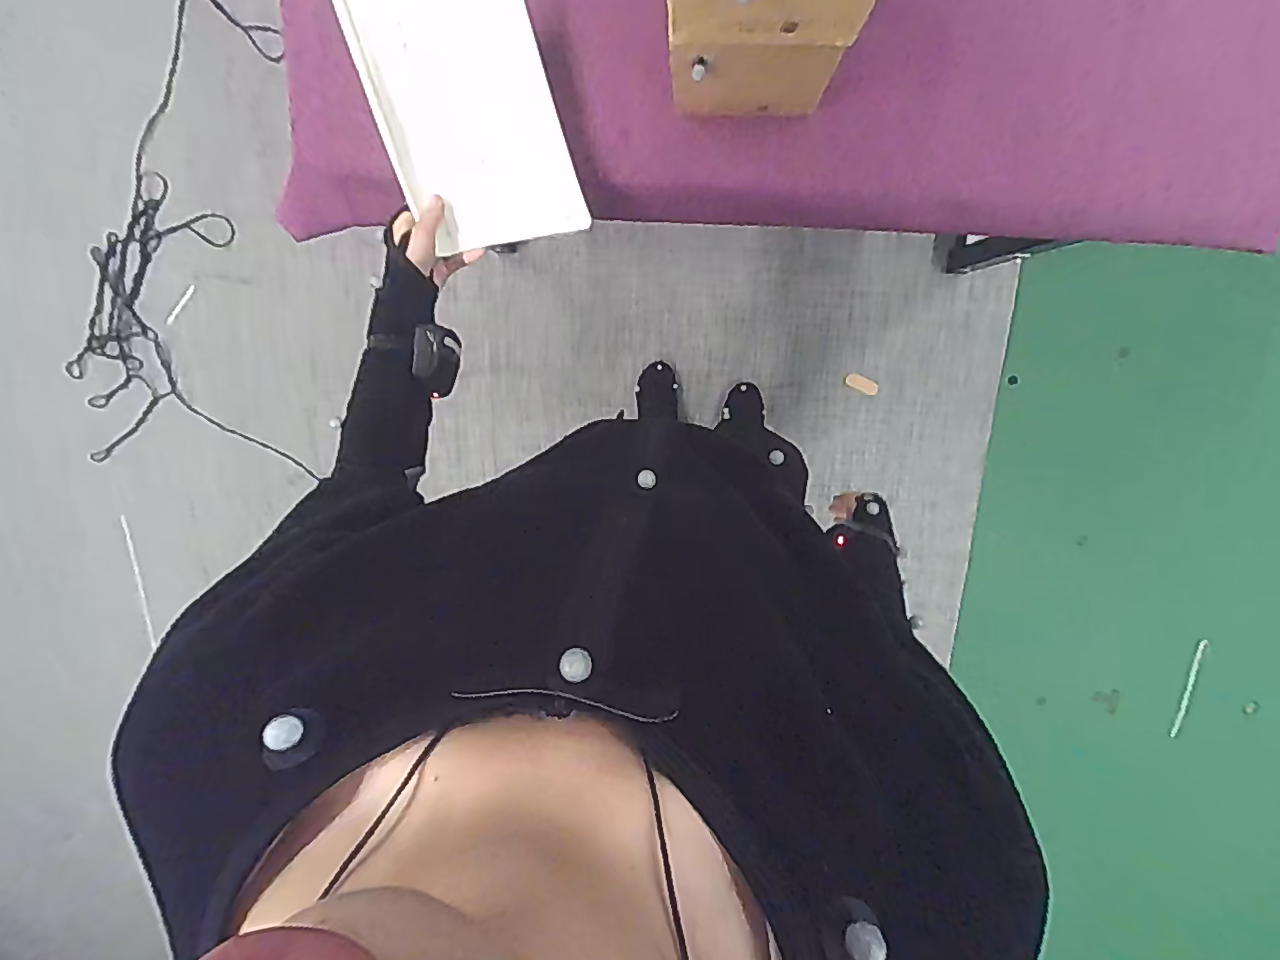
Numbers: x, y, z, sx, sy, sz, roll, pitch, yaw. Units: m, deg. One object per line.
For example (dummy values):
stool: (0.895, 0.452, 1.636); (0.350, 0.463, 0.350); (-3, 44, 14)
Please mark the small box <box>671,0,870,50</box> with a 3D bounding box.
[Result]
small box: (0.108, -0.460, 0.401); (0.168, 0.176, 0.179); (4, 102, 4)
